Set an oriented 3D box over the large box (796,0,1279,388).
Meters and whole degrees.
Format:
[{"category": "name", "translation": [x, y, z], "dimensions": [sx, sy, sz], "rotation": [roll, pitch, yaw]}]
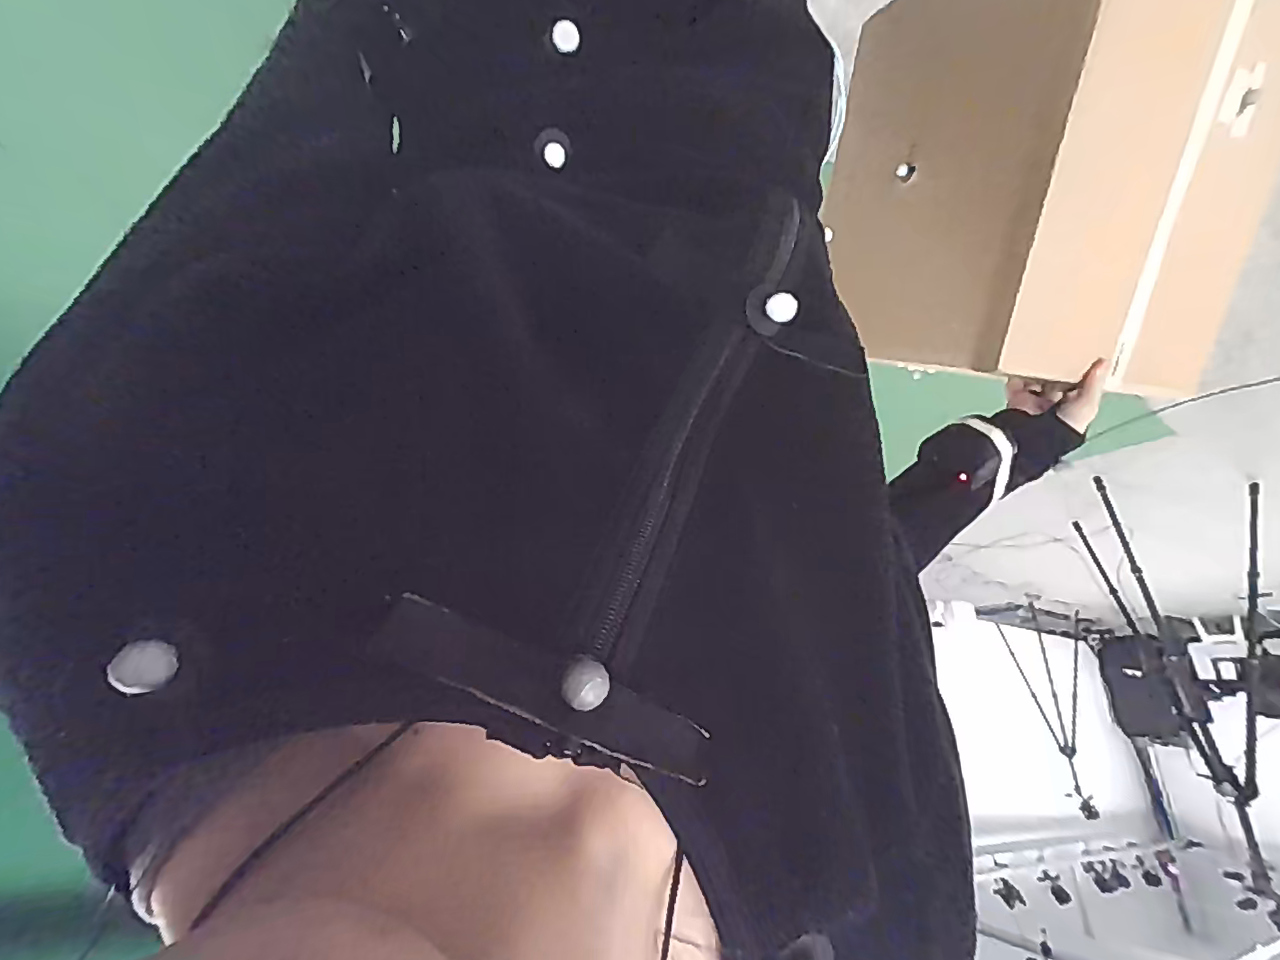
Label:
[{"category": "large box", "translation": [0.430, -0.337, 0.646], "dimensions": [0.320, 0.408, 0.320], "rotation": [1, -163, -22]}]
